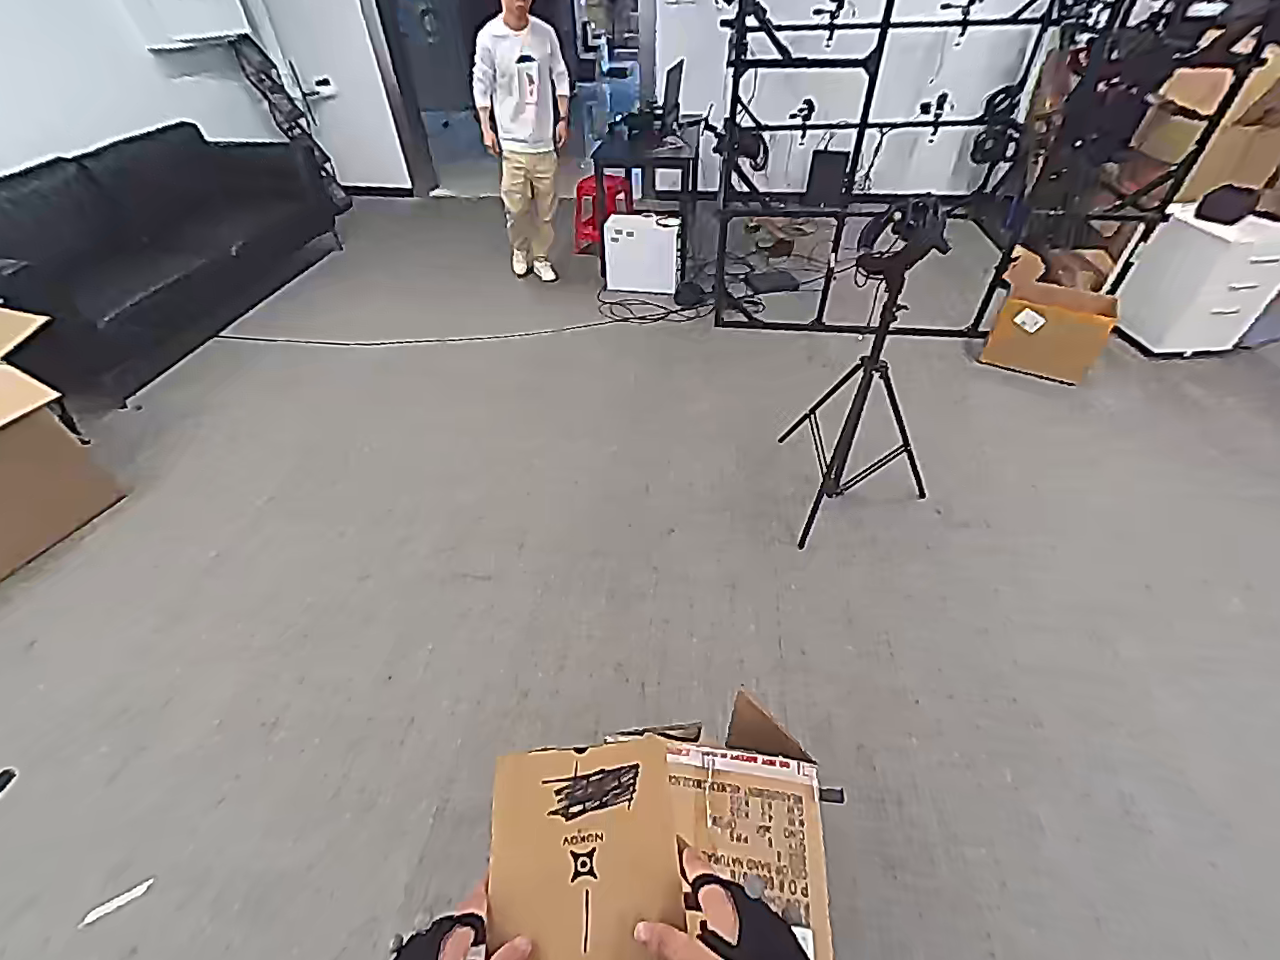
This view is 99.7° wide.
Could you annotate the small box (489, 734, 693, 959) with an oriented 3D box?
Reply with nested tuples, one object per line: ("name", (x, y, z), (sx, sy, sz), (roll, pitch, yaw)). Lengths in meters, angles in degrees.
("small box", (-0.048, 0.376, 0.540), (0.168, 0.176, 0.179), (-4, 51, -4))
